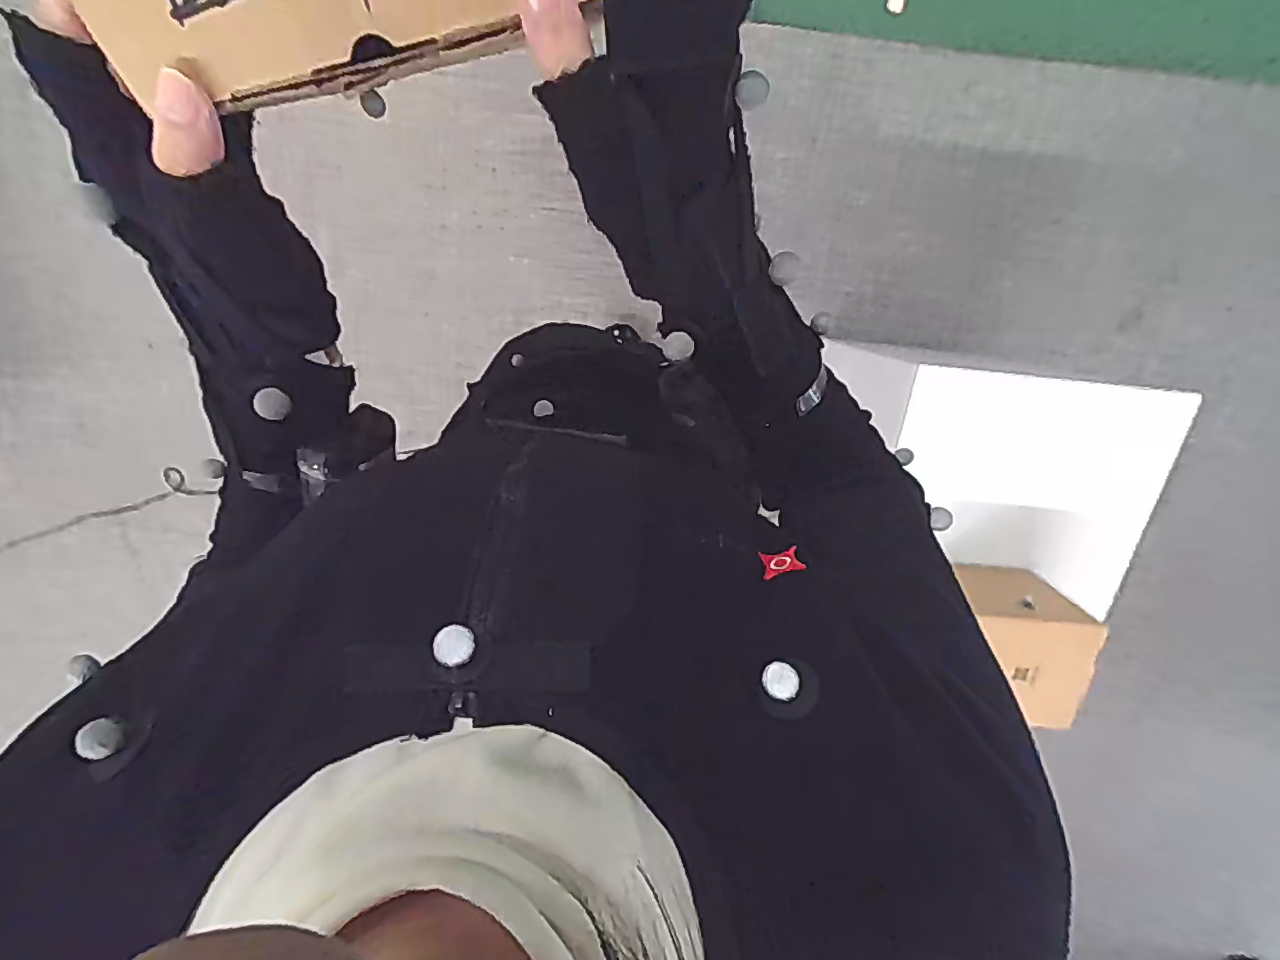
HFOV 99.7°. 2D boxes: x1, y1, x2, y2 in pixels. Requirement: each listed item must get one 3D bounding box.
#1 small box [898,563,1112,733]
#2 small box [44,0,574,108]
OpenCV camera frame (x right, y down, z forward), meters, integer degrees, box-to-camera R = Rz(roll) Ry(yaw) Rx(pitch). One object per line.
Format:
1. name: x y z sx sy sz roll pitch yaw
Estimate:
1. small box: 0.507 0.233 0.782 0.179 0.176 0.168 5 108 3
2. small box: -0.122 -0.259 0.191 0.168 0.176 0.179 -12 127 4
